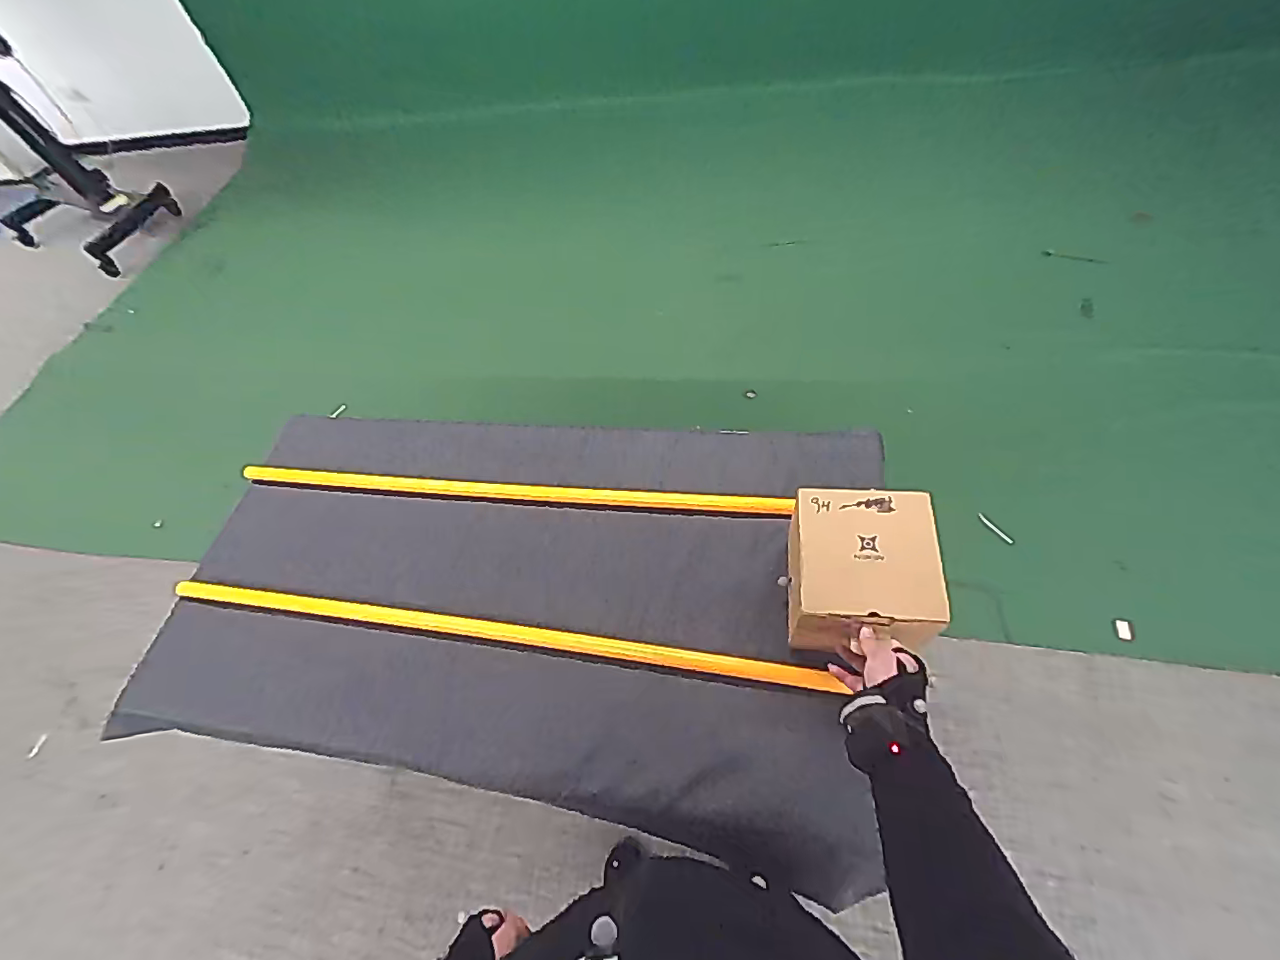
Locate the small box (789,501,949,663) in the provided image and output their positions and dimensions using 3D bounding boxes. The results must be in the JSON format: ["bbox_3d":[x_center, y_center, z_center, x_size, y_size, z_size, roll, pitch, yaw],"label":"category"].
[{"bbox_3d":[0.298,0.145,0.743,0.168,0.176,0.179,-2,58,11],"label":"small box"}]
